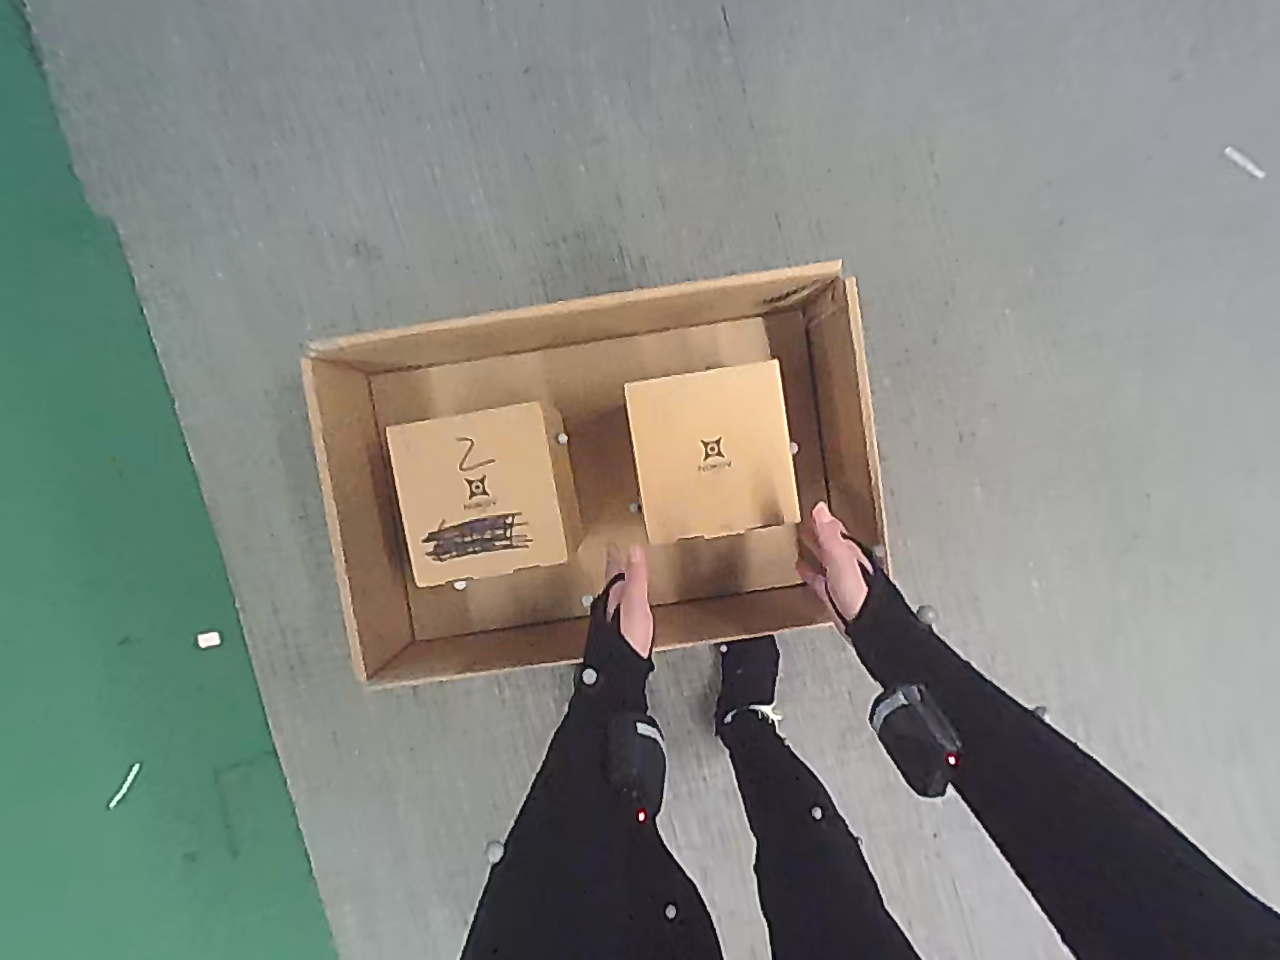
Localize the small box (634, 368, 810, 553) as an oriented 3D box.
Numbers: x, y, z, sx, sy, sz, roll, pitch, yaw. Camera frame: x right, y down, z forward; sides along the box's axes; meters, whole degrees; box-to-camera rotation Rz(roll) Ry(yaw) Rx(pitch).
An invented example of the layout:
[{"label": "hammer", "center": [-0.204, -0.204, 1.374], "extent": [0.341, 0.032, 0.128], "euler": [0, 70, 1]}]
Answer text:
[{"label": "small box", "center": [0.085, -0.025, 0.637], "extent": [0.168, 0.176, 0.179], "euler": [-8, 95, 0]}]
